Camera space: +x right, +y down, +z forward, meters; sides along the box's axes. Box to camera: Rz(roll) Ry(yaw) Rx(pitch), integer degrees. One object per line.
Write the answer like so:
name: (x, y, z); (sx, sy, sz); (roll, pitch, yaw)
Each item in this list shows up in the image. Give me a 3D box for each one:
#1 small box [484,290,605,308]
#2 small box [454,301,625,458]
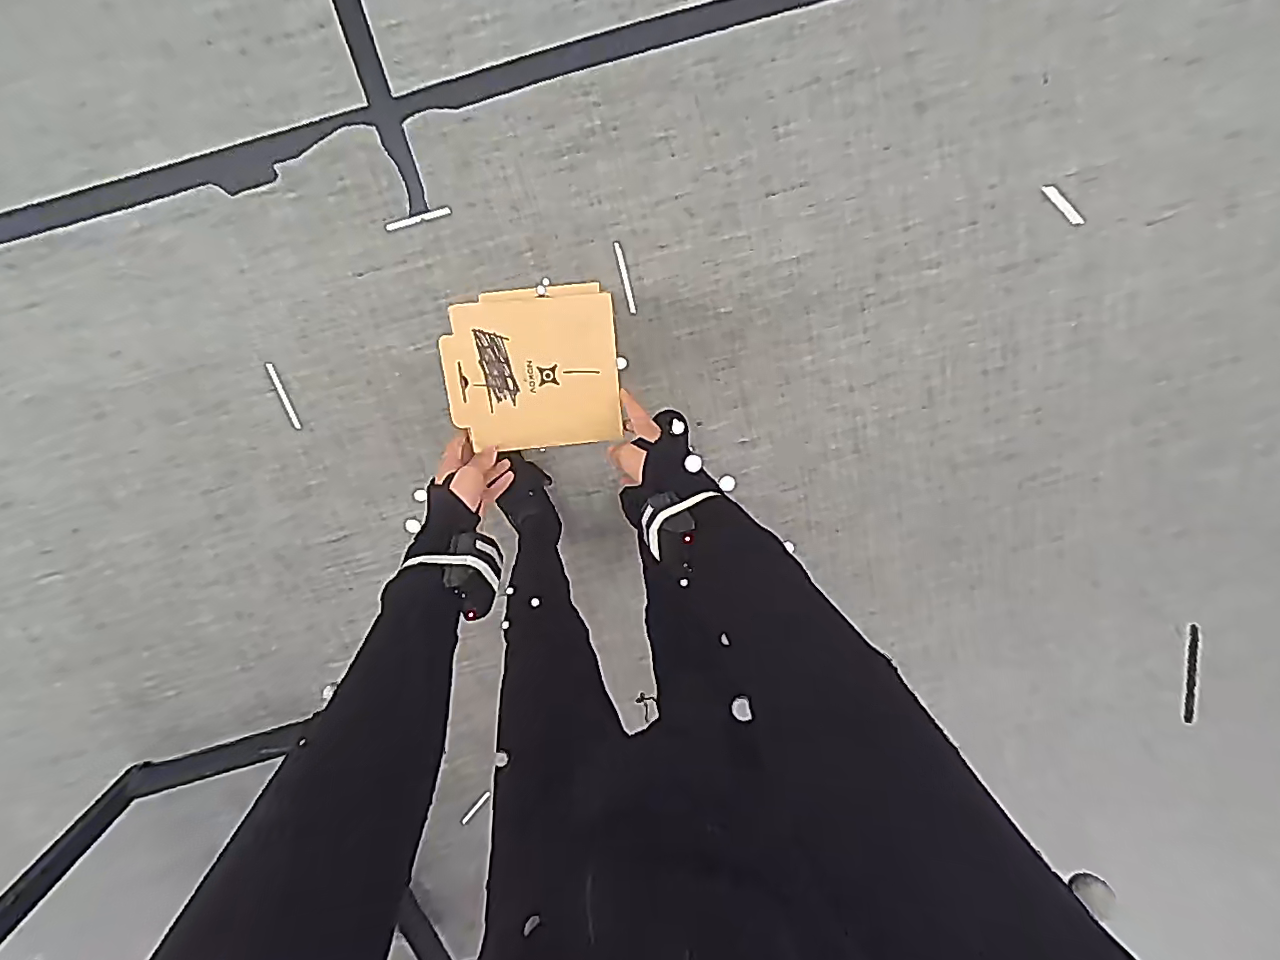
small box: (-0.133, -0.191, 0.832); (0.168, 0.176, 0.179); (-6, 108, -3)
small box: (-0.115, -0.131, 0.679); (0.179, 0.176, 0.168); (-6, 108, -5)
